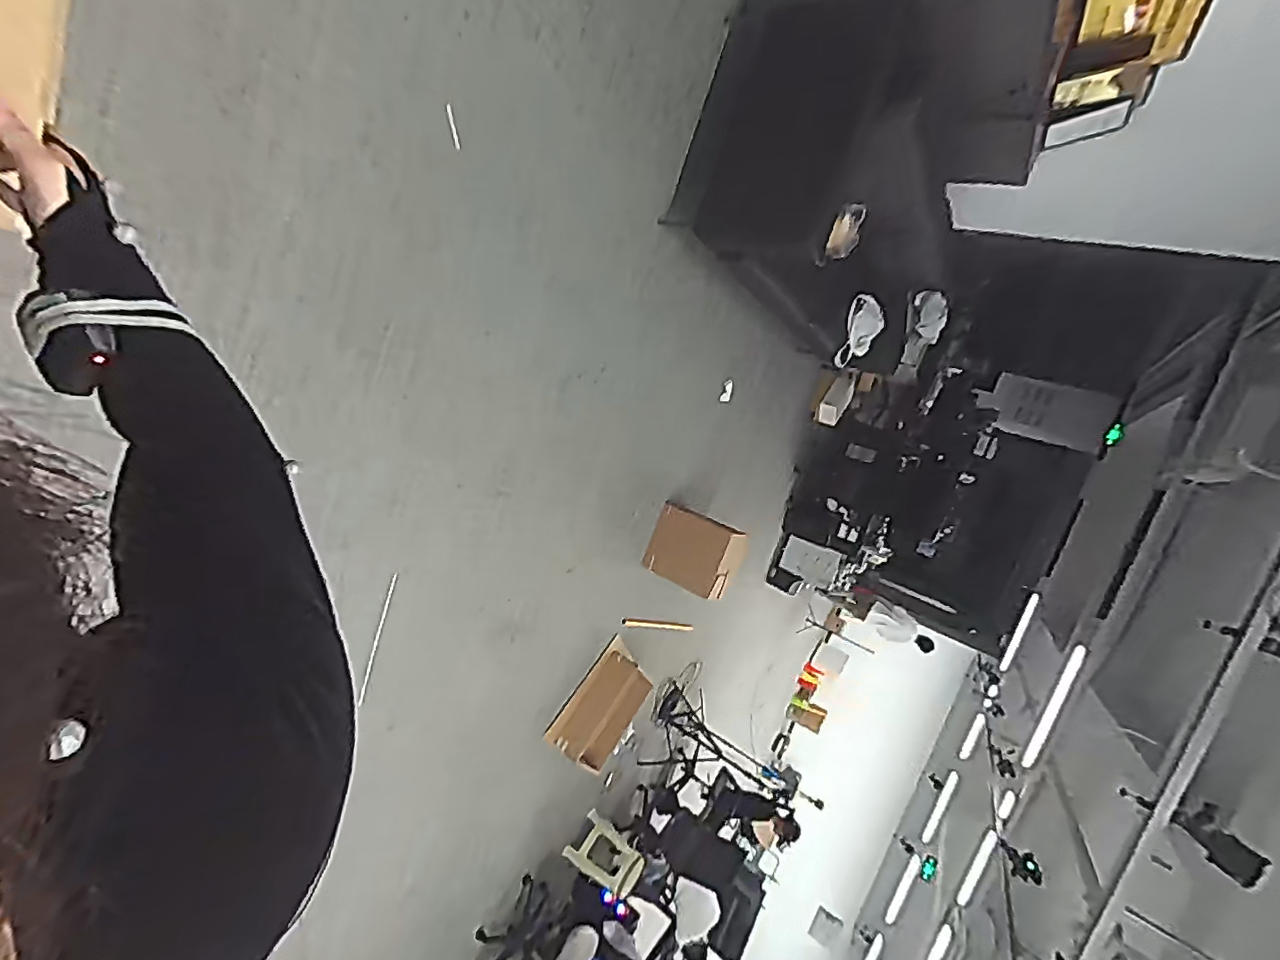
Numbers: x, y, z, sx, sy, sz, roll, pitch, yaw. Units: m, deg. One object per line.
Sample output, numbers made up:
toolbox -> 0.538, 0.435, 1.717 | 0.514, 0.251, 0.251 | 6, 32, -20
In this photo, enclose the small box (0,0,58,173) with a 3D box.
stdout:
small box -> -0.558, -0.341, 0.383 | 0.168, 0.176, 0.179 | 1, 102, -60
